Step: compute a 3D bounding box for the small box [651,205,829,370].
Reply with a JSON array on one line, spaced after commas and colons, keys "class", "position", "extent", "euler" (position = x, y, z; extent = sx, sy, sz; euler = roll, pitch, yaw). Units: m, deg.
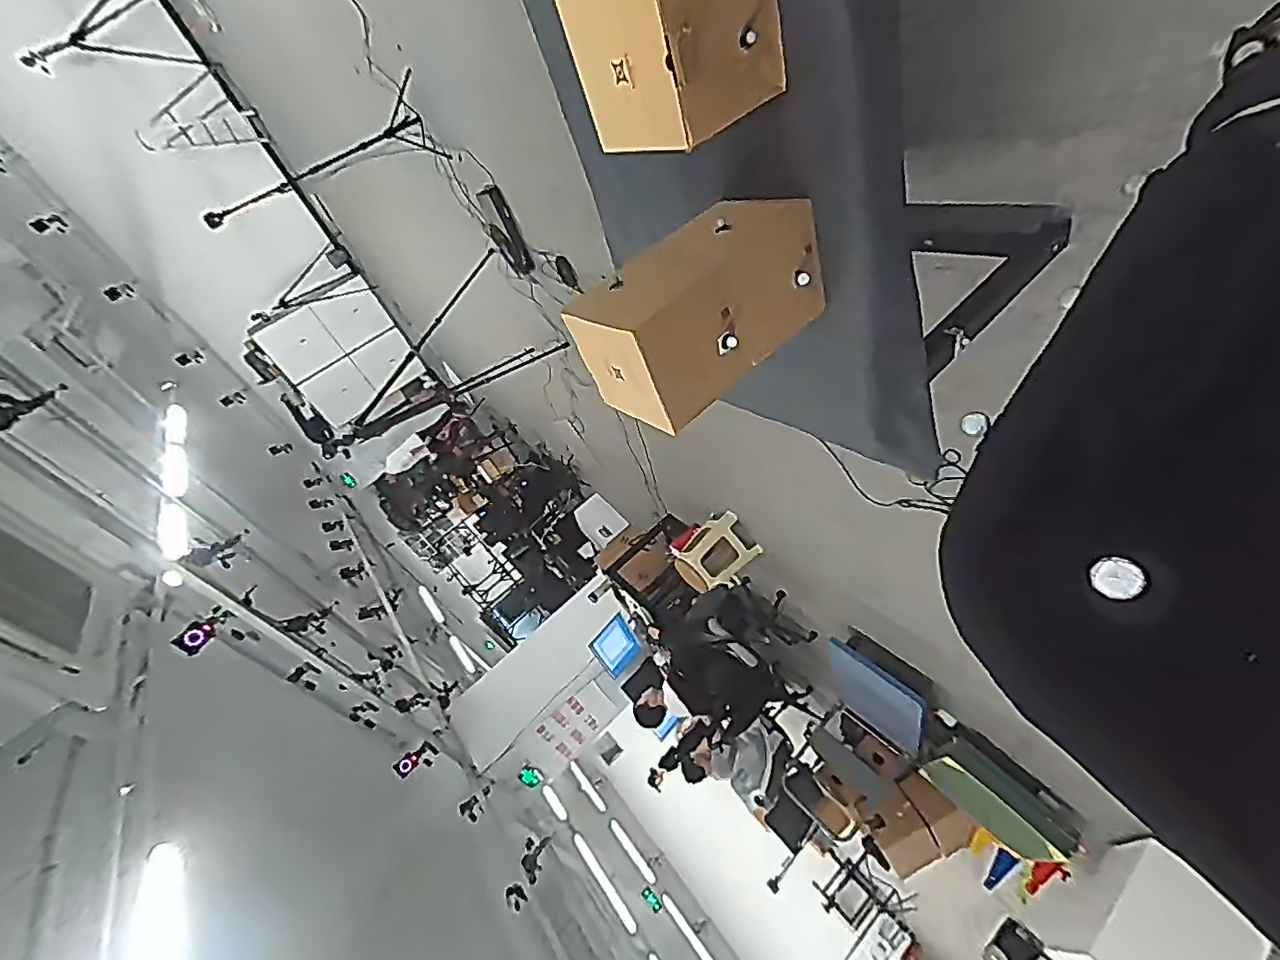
[{"class": "small box", "position": [0.152, -0.292, 0.808], "extent": [0.179, 0.176, 0.168], "euler": [30, 154, 47]}]

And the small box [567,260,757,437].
[{"class": "small box", "position": [0.034, -0.192, 0.760], "extent": [0.179, 0.176, 0.168], "euler": [29, 155, 47]}]

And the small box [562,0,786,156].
[{"class": "small box", "position": [0.044, -0.505, 0.637], "extent": [0.179, 0.176, 0.168], "euler": [32, 155, 44]}]
